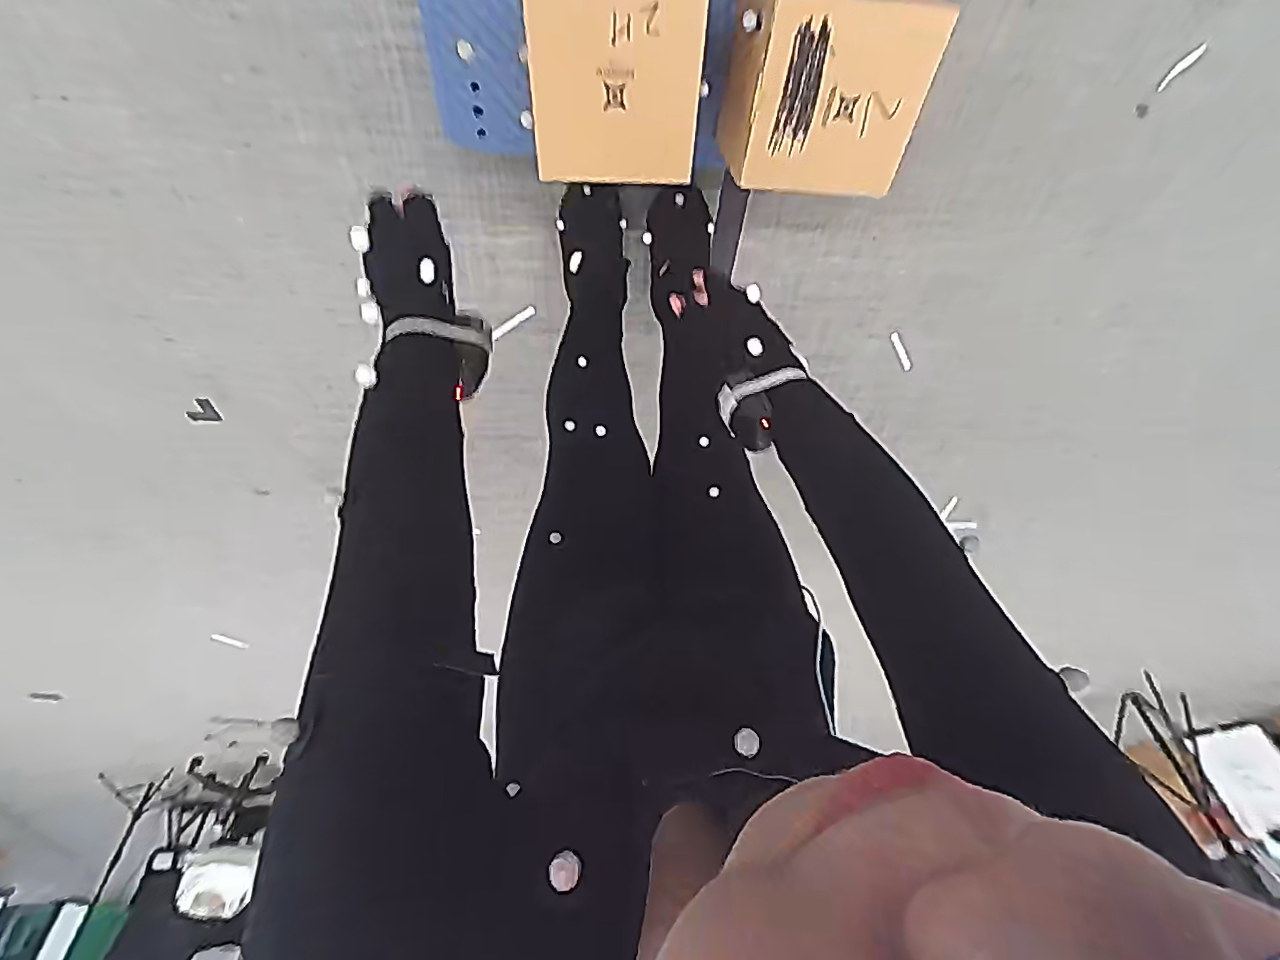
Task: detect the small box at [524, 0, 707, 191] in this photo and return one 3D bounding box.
[{"bbox_3d":[-0.028,-0.438,0.583,0.168,0.176,0.179,-1,137,-4],"label":"small box"}]
